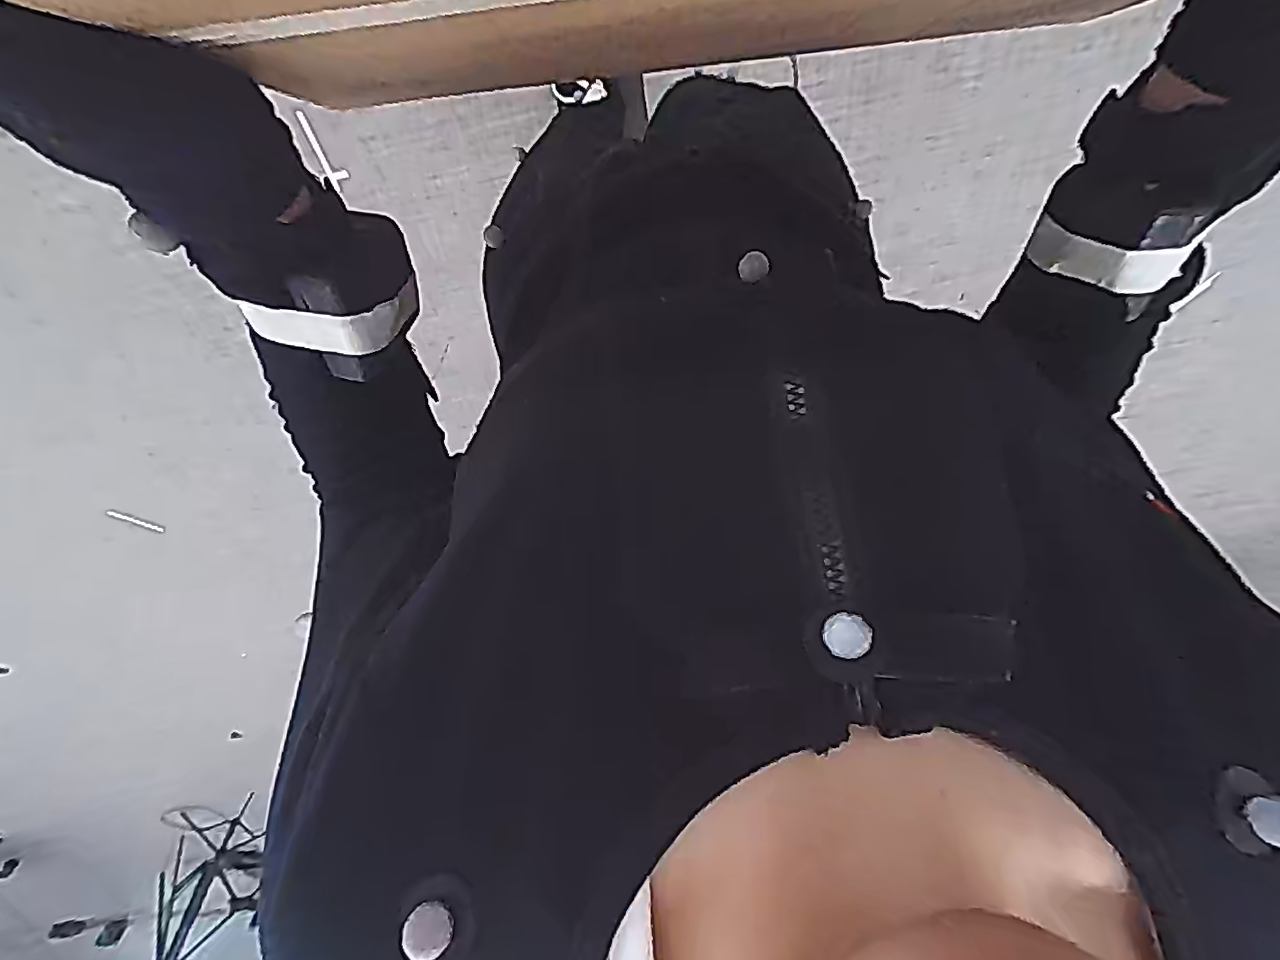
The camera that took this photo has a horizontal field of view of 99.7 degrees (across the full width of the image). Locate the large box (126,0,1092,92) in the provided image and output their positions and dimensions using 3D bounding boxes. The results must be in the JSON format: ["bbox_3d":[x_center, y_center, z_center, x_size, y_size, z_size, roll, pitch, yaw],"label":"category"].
[{"bbox_3d":[0.023,-0.300,0.089,0.408,0.320,0.320,-6,118,1],"label":"large box"}]
